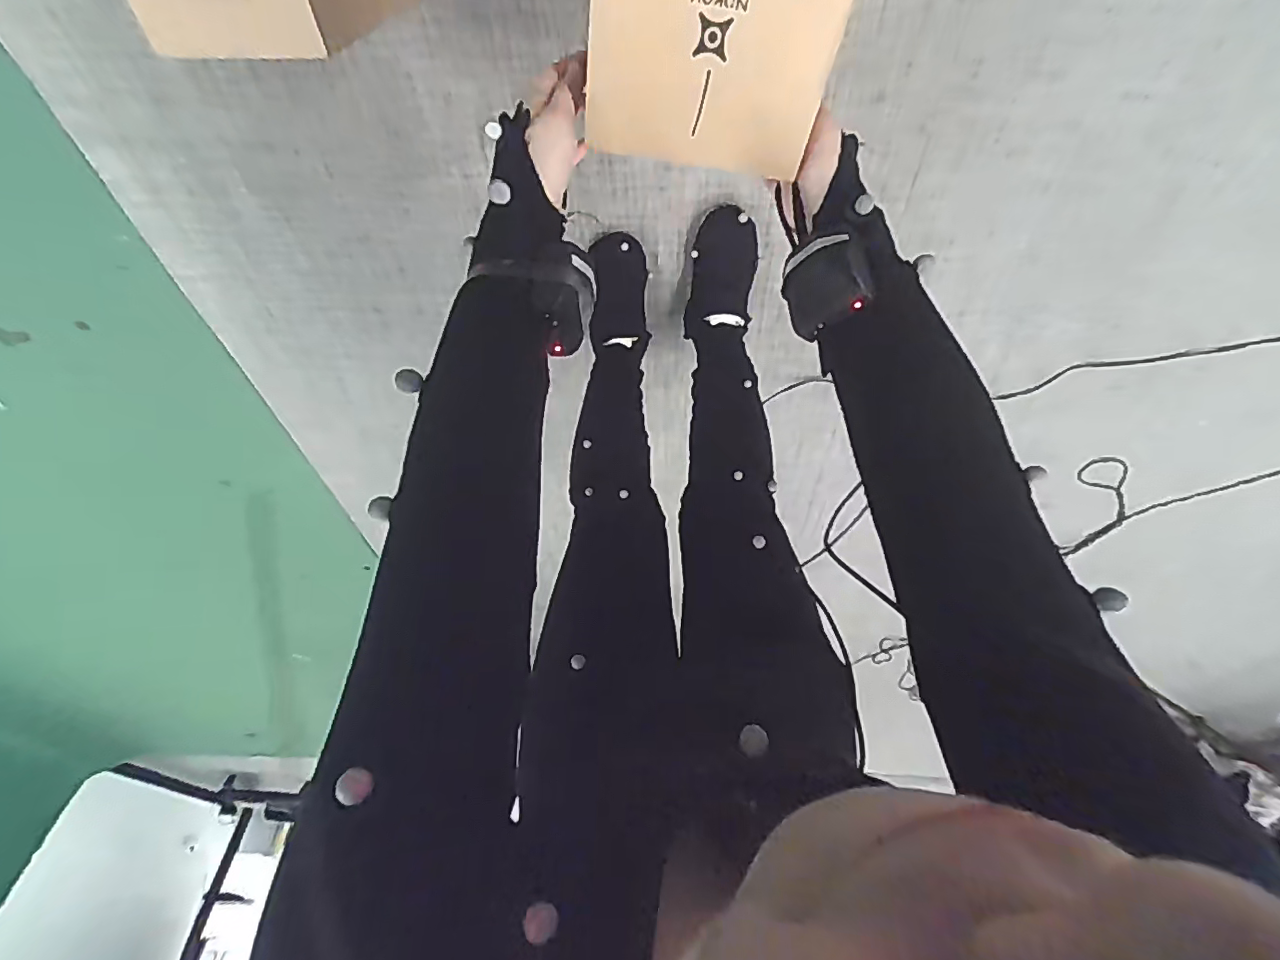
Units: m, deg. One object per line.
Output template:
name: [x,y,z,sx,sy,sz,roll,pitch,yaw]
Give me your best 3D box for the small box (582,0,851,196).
small box: [0.049,-0.352,0.409,0.168,0.176,0.179,6,141,-5]
